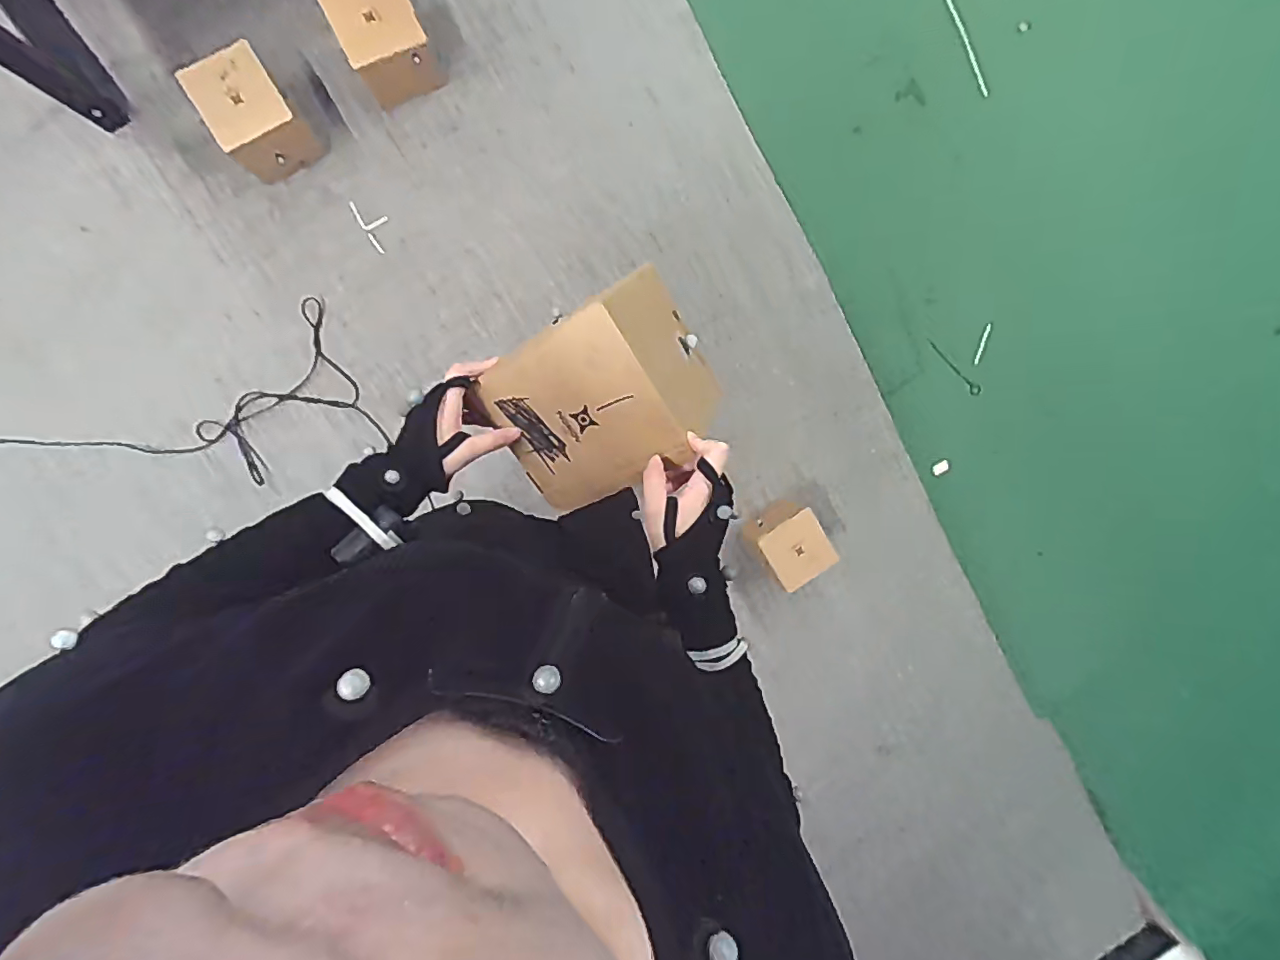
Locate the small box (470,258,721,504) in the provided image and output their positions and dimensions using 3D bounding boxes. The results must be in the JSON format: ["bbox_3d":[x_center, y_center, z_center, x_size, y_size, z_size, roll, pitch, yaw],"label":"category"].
[{"bbox_3d":[-0.035,-0.107,0.575,0.179,0.176,0.168,-25,111,30],"label":"small box"}]

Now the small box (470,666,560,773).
[{"bbox_3d":[-0.326,0.624,1.441,0.168,0.176,0.179,-28,98,-3],"label":"small box"}]

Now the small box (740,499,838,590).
[{"bbox_3d":[0.397,0.166,1.478,0.168,0.176,0.179,-32,100,-2],"label":"small box"}]
